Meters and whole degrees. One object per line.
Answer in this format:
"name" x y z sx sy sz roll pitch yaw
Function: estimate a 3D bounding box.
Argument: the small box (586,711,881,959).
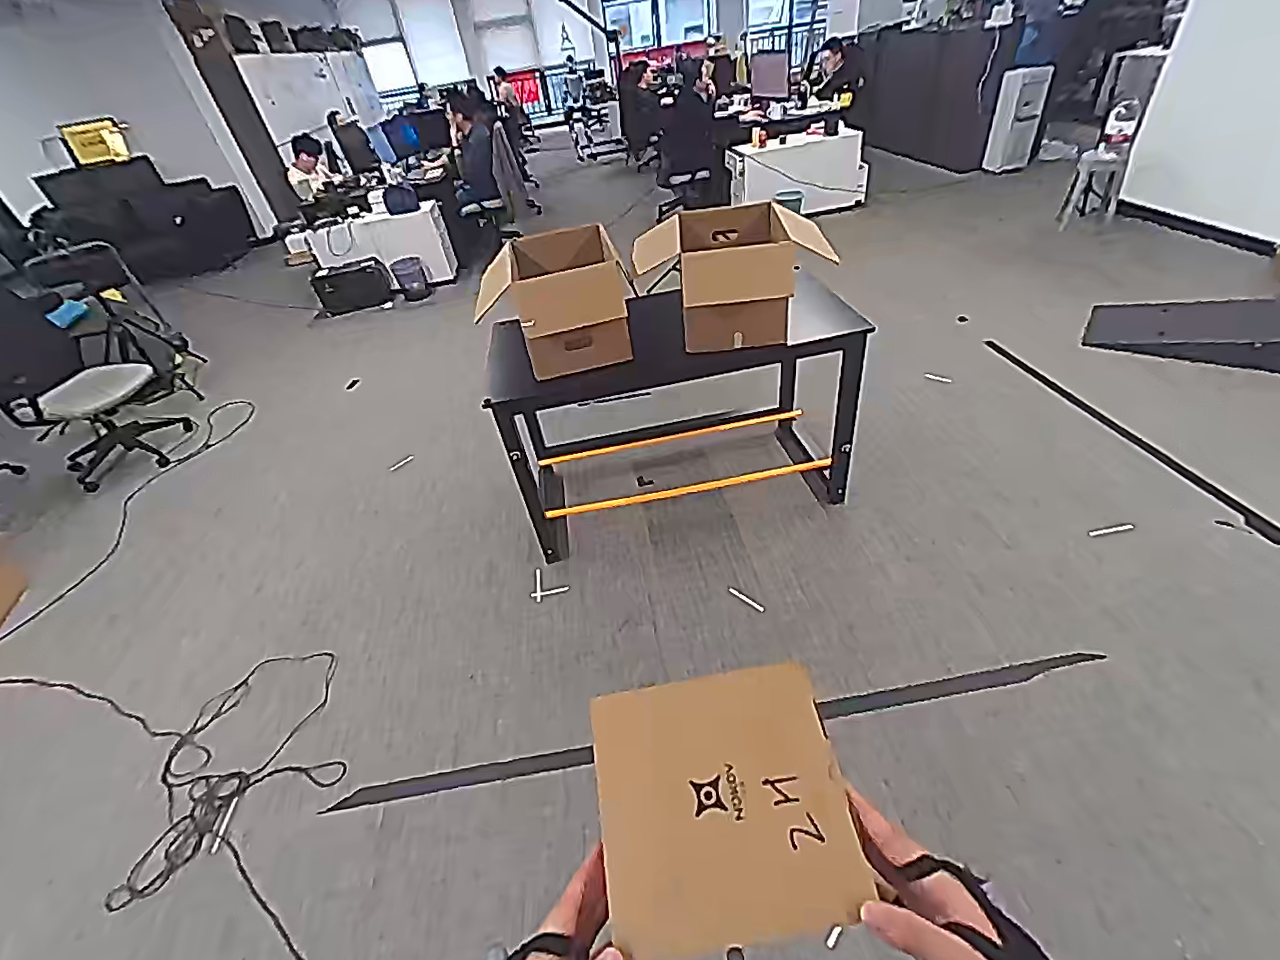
"small box" 0.063 0.304 0.436 0.179 0.176 0.168 -10 55 -1
